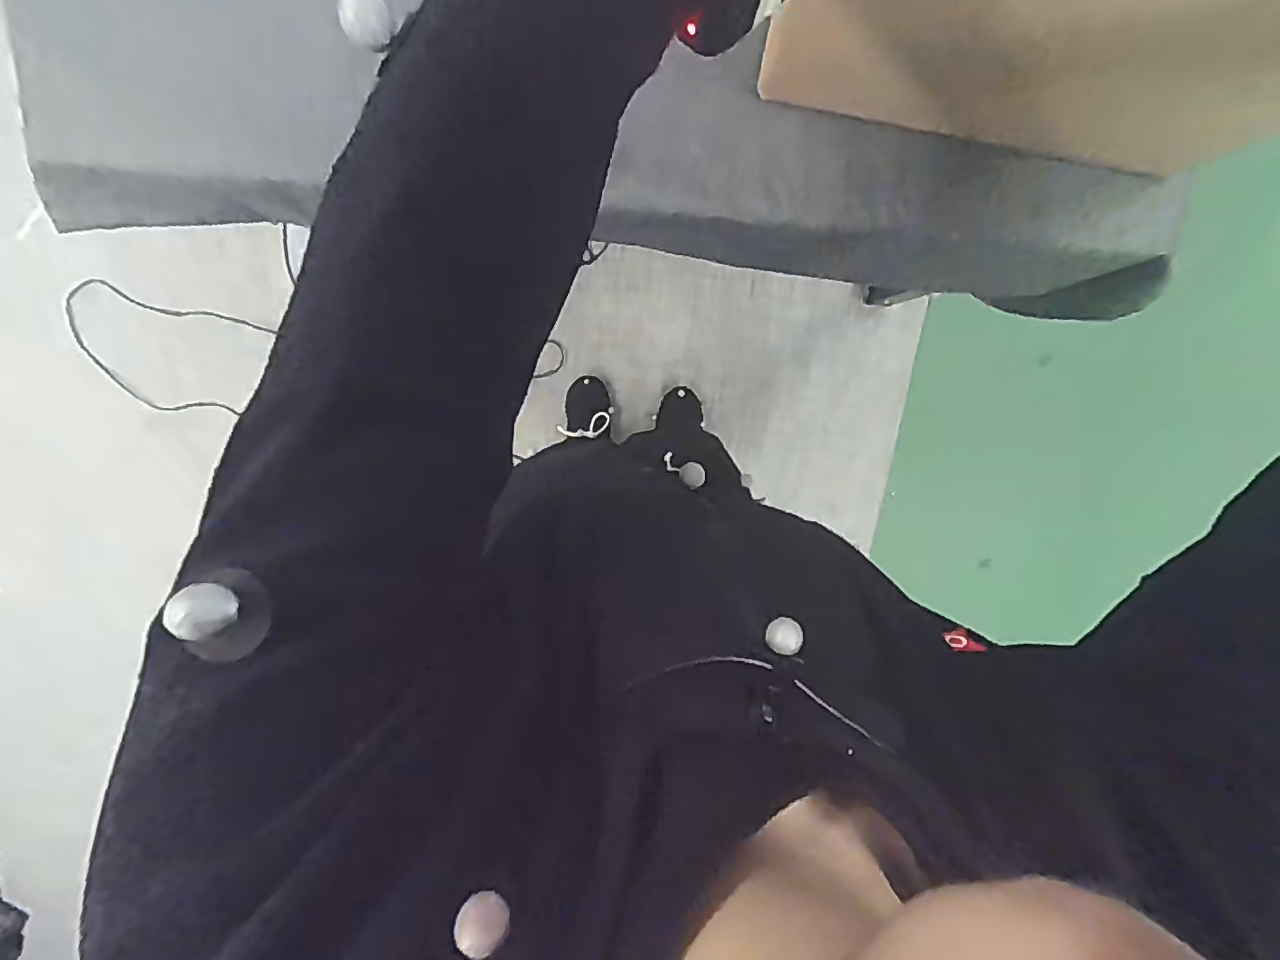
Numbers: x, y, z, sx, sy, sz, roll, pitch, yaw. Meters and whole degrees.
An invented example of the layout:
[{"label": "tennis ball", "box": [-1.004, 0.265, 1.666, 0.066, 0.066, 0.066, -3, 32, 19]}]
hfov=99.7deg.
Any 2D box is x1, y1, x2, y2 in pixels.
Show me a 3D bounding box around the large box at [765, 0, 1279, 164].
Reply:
[{"label": "large box", "box": [0.327, -0.447, 0.340, 0.408, 0.320, 0.320, 12, 104, 2]}]
